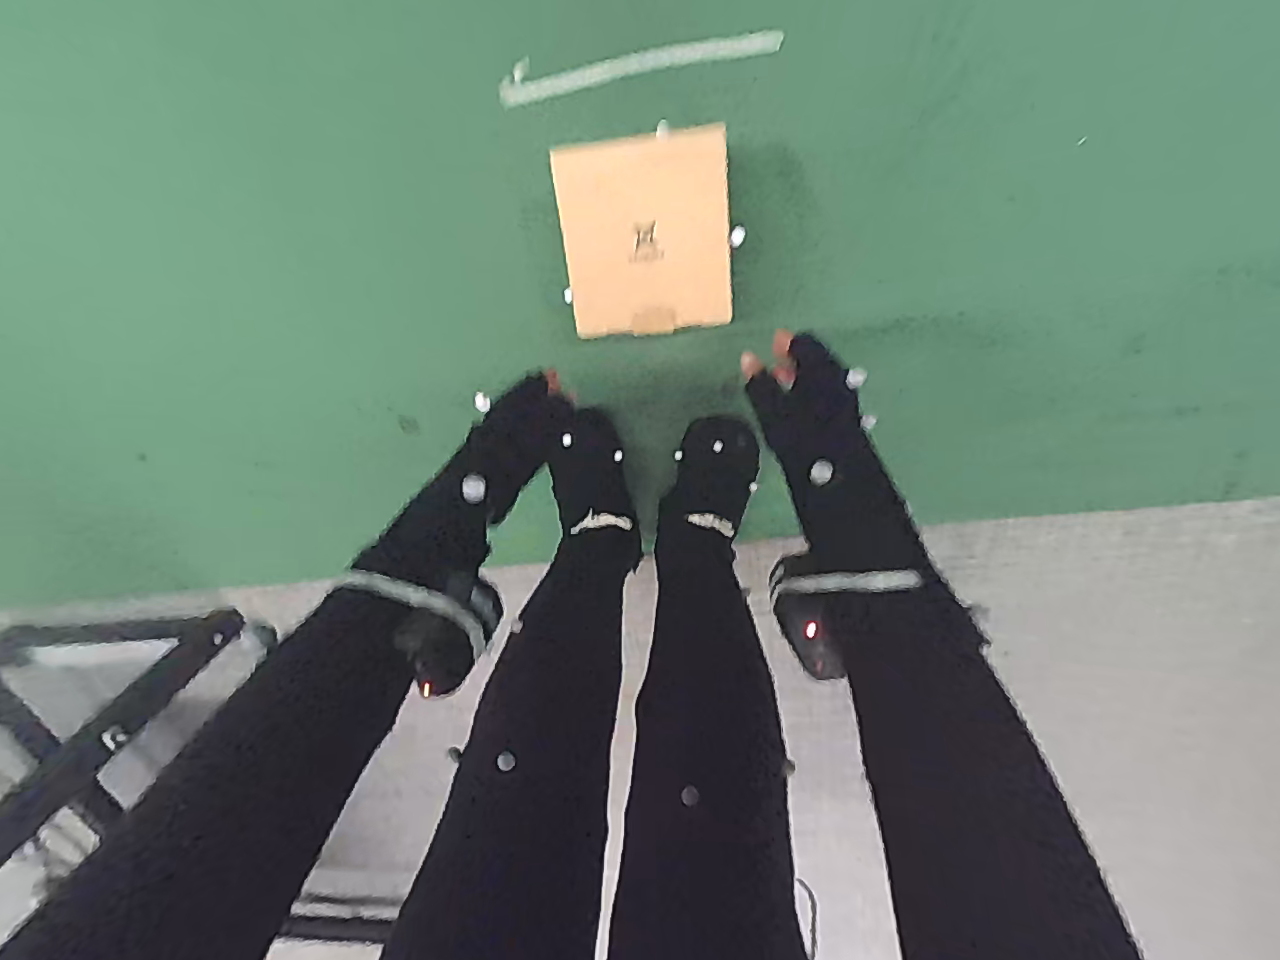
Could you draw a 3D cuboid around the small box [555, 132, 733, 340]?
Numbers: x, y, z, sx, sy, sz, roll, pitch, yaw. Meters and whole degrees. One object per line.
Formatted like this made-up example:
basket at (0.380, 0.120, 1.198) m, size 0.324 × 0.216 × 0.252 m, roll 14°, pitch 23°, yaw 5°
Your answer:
small box at (0.015, -0.270, 0.609) m, size 0.168 × 0.176 × 0.179 m, roll -4°, pitch 117°, yaw 8°
